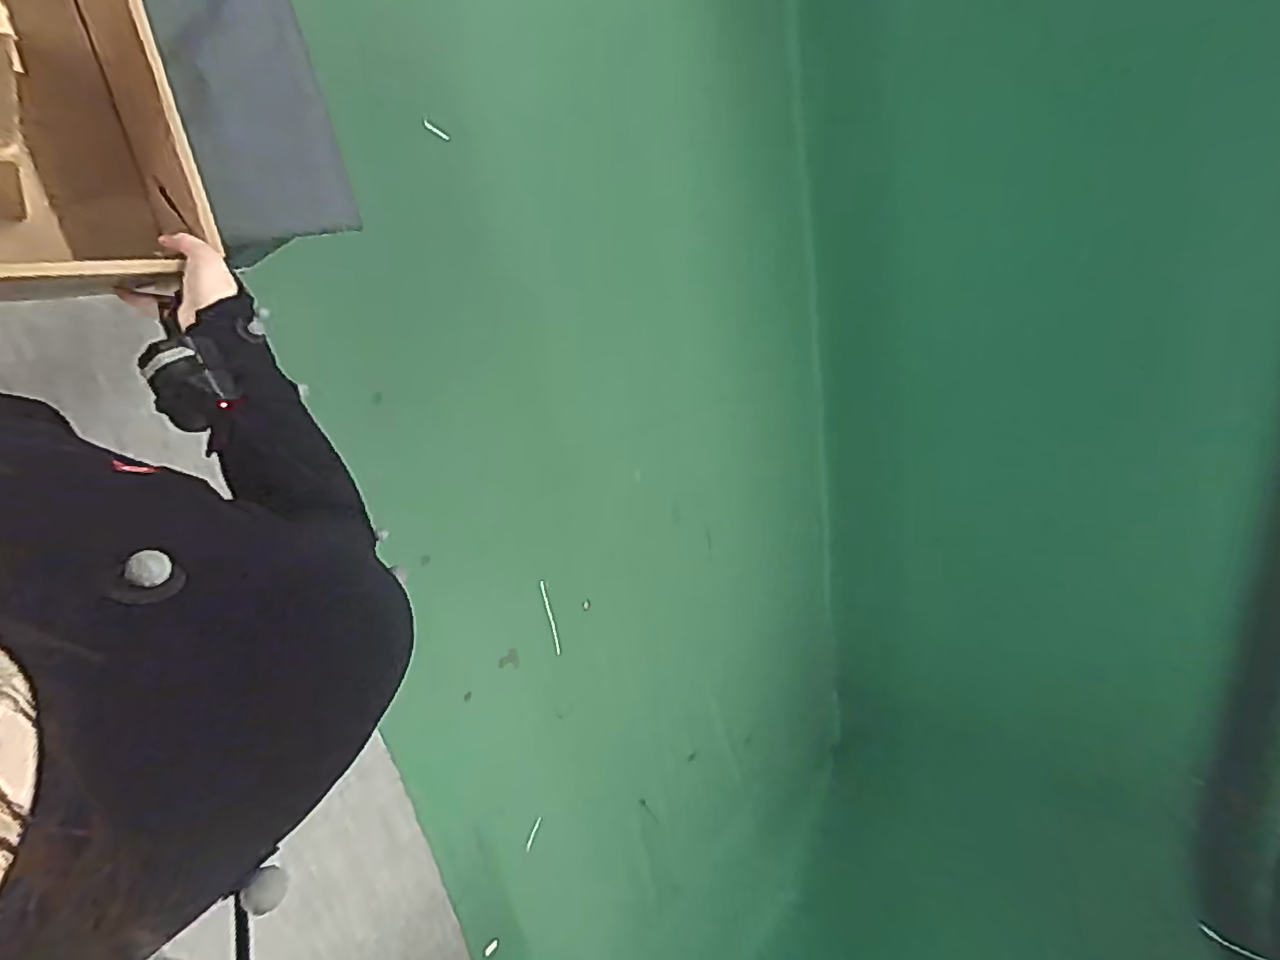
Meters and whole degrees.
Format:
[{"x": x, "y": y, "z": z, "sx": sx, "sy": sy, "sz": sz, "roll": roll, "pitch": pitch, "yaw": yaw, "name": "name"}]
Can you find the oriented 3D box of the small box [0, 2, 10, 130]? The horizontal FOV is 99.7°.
[{"x": -0.447, "y": -0.276, "z": 0.246, "sx": 0.179, "sy": 0.176, "sz": 0.168, "roll": -28, "pitch": 115, "yaw": -45, "name": "small box"}]
